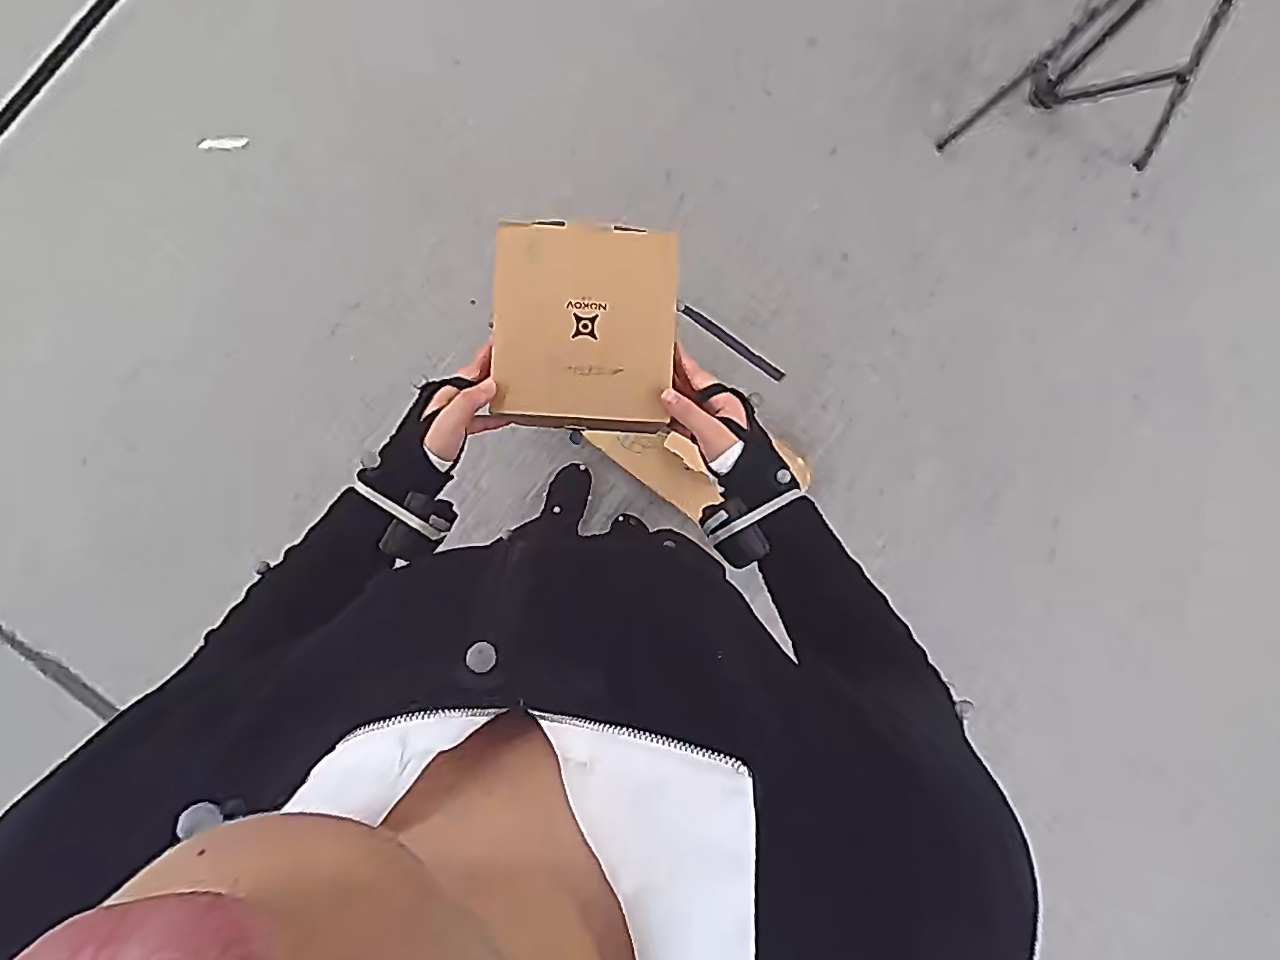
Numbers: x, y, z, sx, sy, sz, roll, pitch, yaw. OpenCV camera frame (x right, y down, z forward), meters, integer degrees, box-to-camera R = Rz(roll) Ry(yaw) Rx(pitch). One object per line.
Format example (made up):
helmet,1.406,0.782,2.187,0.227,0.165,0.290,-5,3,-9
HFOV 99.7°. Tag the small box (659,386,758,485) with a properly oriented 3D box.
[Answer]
small box,0.161,-0.099,1.325,0.168,0.176,0.179,35,87,0

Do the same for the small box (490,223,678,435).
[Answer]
small box,-0.055,-0.142,0.568,0.168,0.176,0.179,2,92,-3
